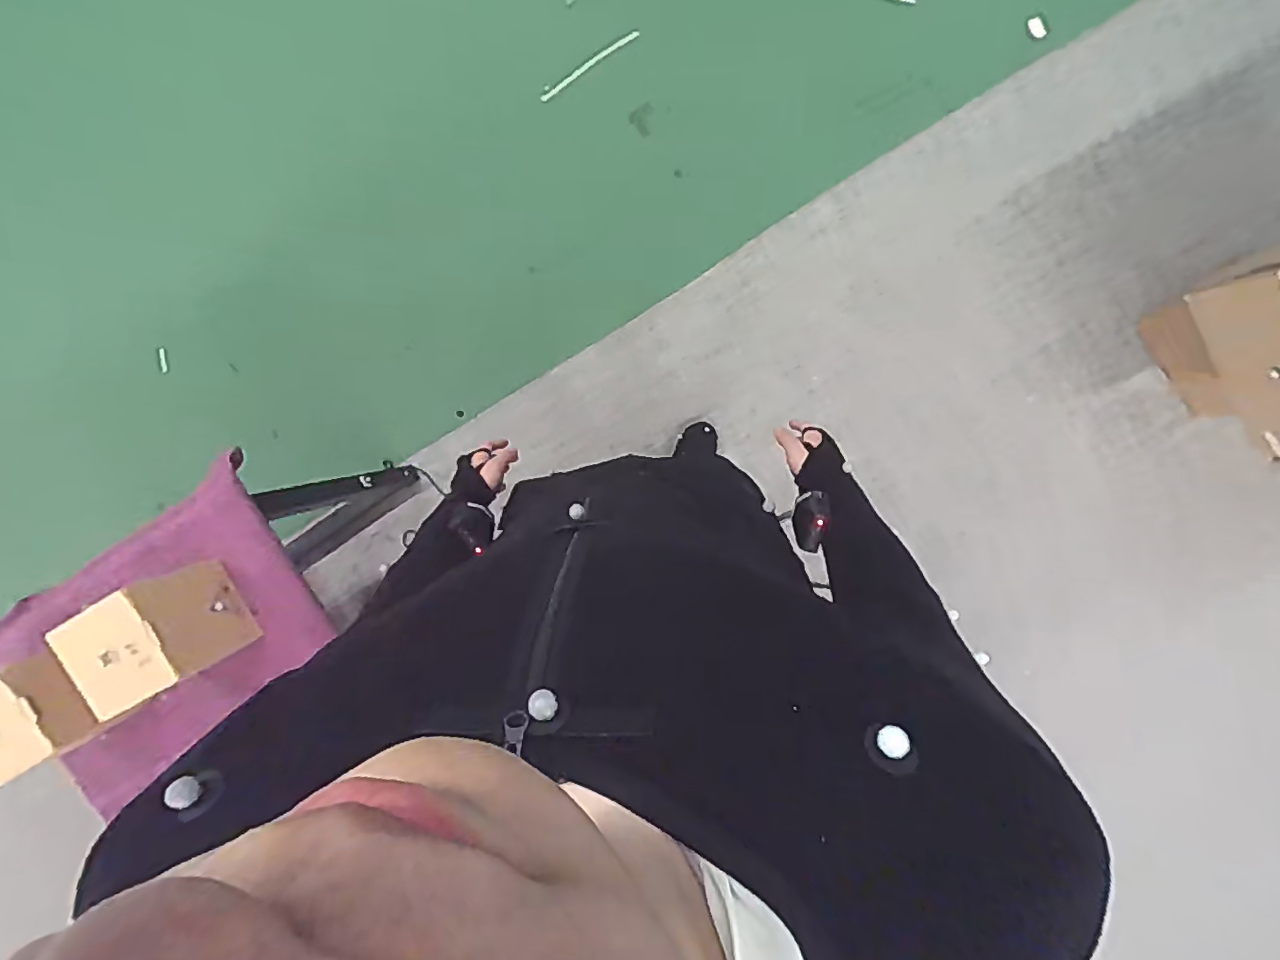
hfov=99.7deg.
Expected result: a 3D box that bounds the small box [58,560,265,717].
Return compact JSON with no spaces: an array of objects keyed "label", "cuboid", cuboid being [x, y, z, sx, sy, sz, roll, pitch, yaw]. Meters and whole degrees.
[{"label":"small box","cuboid":[-0.807,0.263,0.931,0.179,0.176,0.168,-28,94,10]}]

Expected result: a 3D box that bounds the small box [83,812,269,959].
[{"label":"small box","cuboid":[-0.836,0.763,1.000,0.179,0.176,0.168,-32,92,9]}]

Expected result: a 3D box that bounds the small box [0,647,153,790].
[{"label":"small box","cuboid":[-1.045,0.404,0.978,0.179,0.176,0.168,-31,93,8]}]
